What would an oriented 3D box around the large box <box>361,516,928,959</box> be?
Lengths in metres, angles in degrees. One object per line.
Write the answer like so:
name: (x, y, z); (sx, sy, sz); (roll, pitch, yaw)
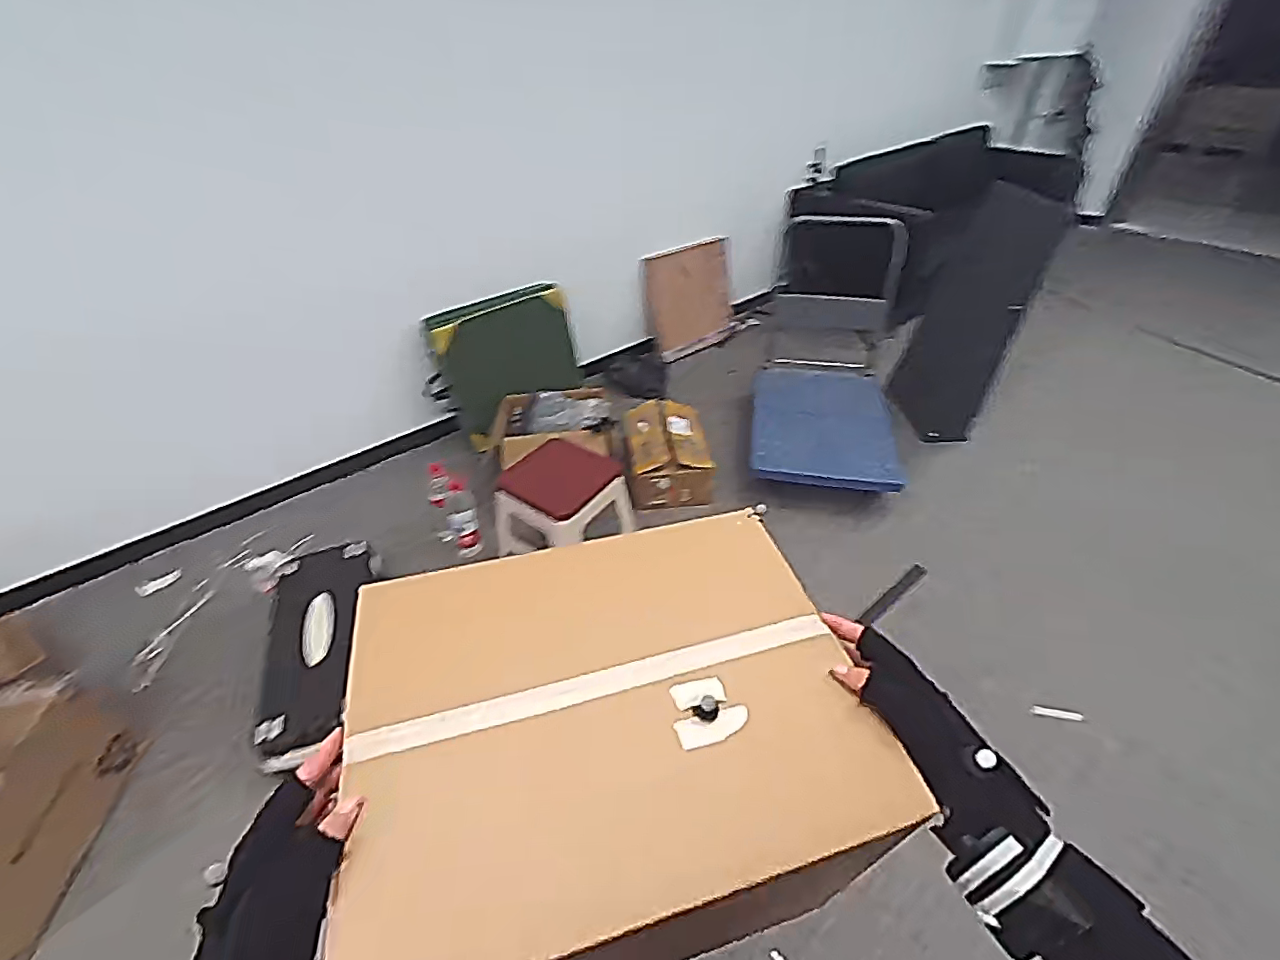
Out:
large box: (-0.021, 0.281, 0.556); (0.408, 0.320, 0.320); (-9, 44, -13)
